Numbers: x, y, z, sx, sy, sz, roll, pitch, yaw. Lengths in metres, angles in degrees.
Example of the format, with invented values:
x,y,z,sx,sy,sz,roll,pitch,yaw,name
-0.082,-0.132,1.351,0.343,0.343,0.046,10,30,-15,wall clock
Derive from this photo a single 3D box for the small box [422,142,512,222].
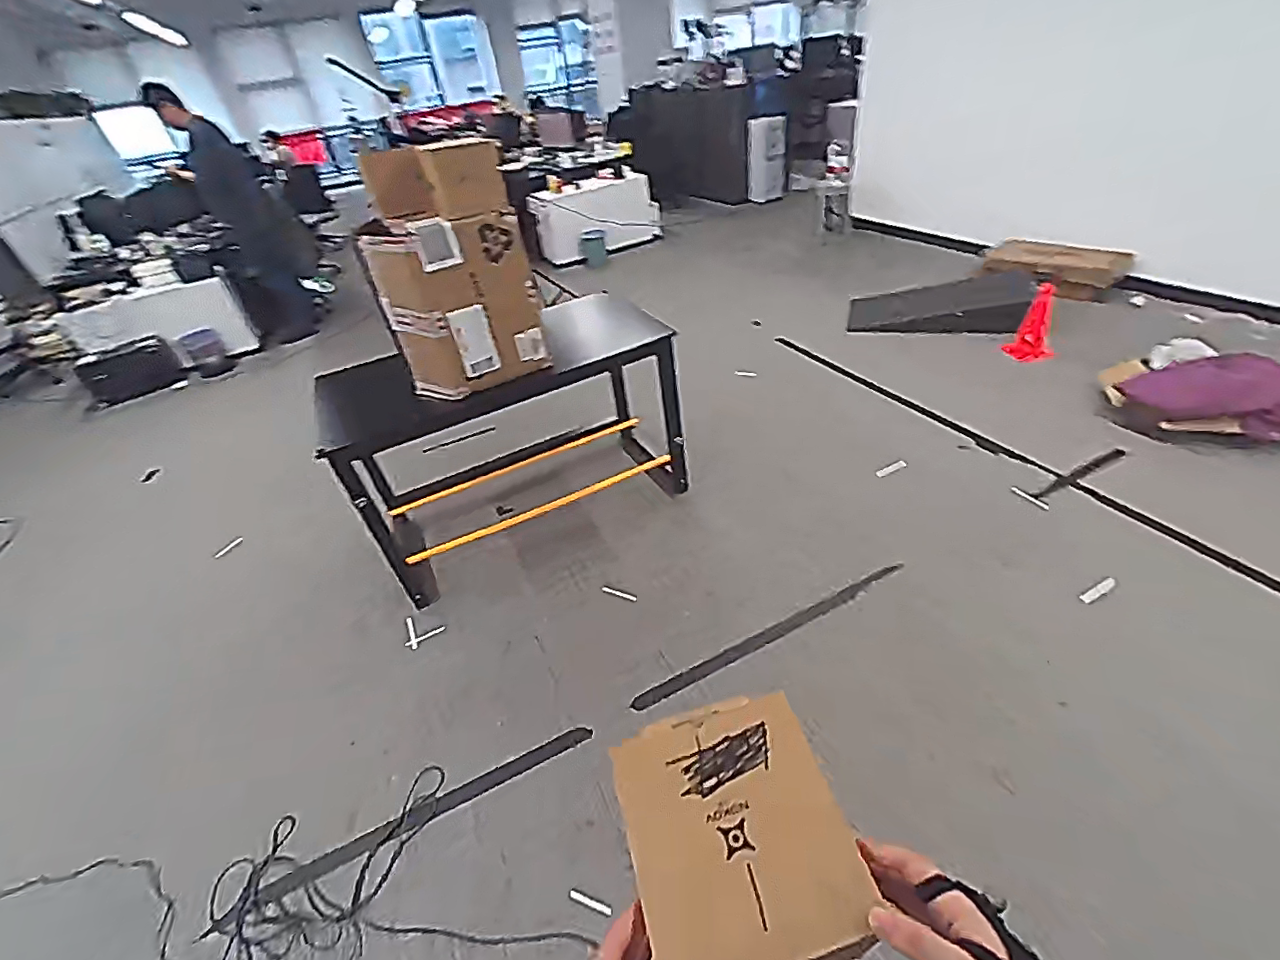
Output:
x,y,z,sx,sy,sz,roll,pitch,yaw,name
-0.483,-0.835,1.513,0.179,0.176,0.168,-24,39,-20,small box

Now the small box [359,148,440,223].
x,y,z,sx,sy,sz,roll,pitch,yaw,name
-0.710,-0.883,1.616,0.179,0.176,0.168,-24,37,-19,small box

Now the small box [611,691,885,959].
x,y,z,sx,sy,sz,roll,pitch,yaw,name
0.083,0.327,0.482,0.168,0.176,0.179,-17,44,-6,small box
